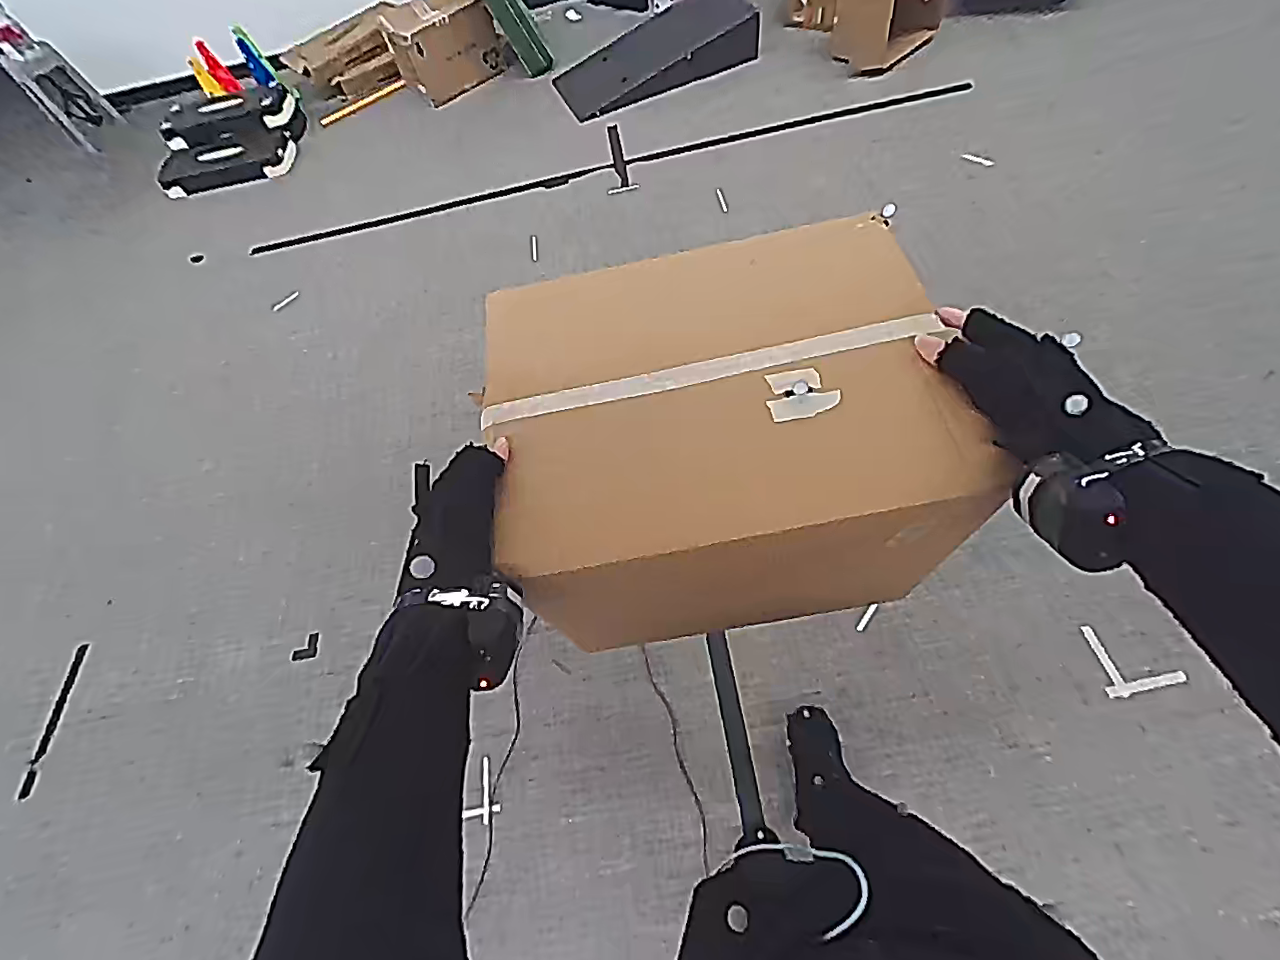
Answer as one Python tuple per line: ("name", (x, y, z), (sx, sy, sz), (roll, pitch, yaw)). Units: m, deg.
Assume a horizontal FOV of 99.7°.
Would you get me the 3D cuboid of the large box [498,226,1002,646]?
("large box", (0.083, -0.025, 0.625), (0.408, 0.320, 0.320), (-11, 62, 2))
